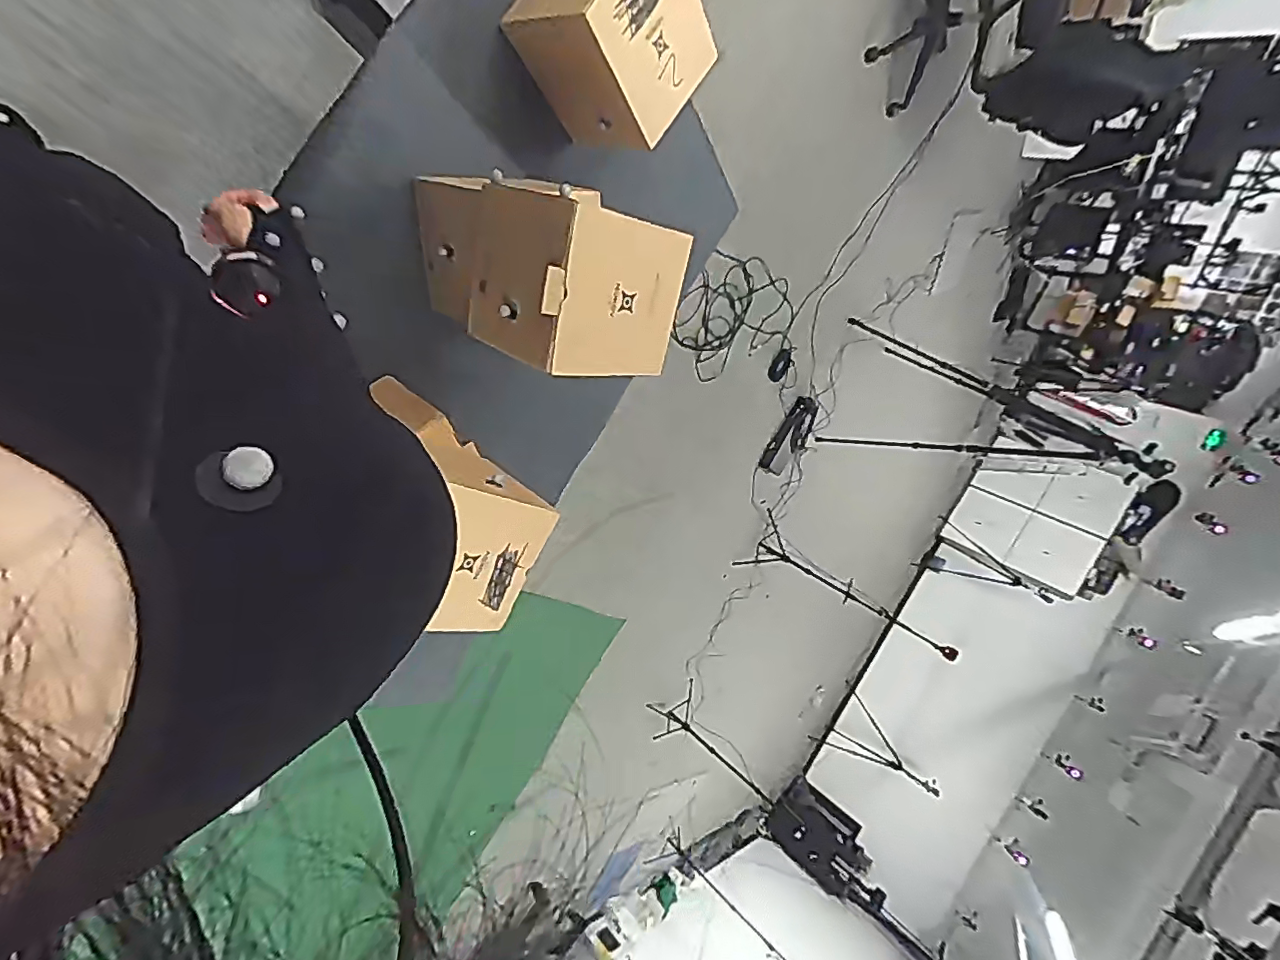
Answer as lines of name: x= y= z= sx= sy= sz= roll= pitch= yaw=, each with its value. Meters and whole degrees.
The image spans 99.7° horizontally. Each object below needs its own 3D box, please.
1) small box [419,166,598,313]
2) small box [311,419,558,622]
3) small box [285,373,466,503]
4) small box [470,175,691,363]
small box: x=-0.176 y=-0.317 z=0.723 sx=0.179 sy=0.176 sz=0.168 roll=-25 pitch=133 yaw=-38
small box: x=-0.235 y=0.047 z=0.625 sx=0.179 sy=0.176 sz=0.168 roll=22 pitch=95 yaw=-54
small box: x=-0.342 y=-0.017 z=0.733 sx=0.179 sy=0.176 sz=0.168 roll=-43 pitch=141 yaw=-24
small box: x=-0.074 y=-0.239 z=0.622 sx=0.179 sy=0.176 sz=0.168 roll=-13 pitch=125 yaw=-46
